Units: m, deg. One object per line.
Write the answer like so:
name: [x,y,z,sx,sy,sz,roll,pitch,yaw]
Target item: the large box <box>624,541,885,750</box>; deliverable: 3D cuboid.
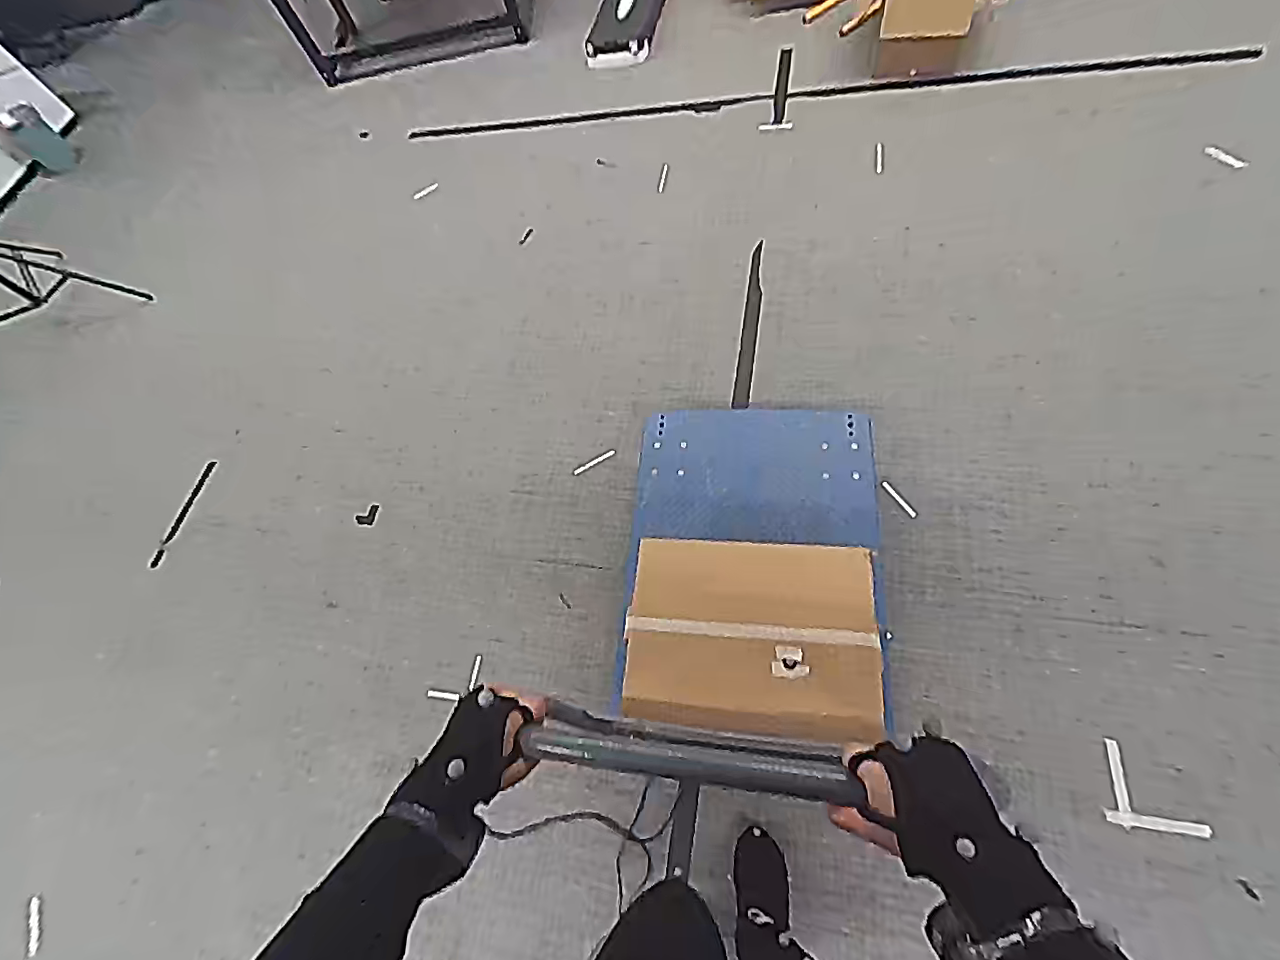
large box: [0.206,0.319,1.025,0.408,0.320,0.320,1,64,12]
